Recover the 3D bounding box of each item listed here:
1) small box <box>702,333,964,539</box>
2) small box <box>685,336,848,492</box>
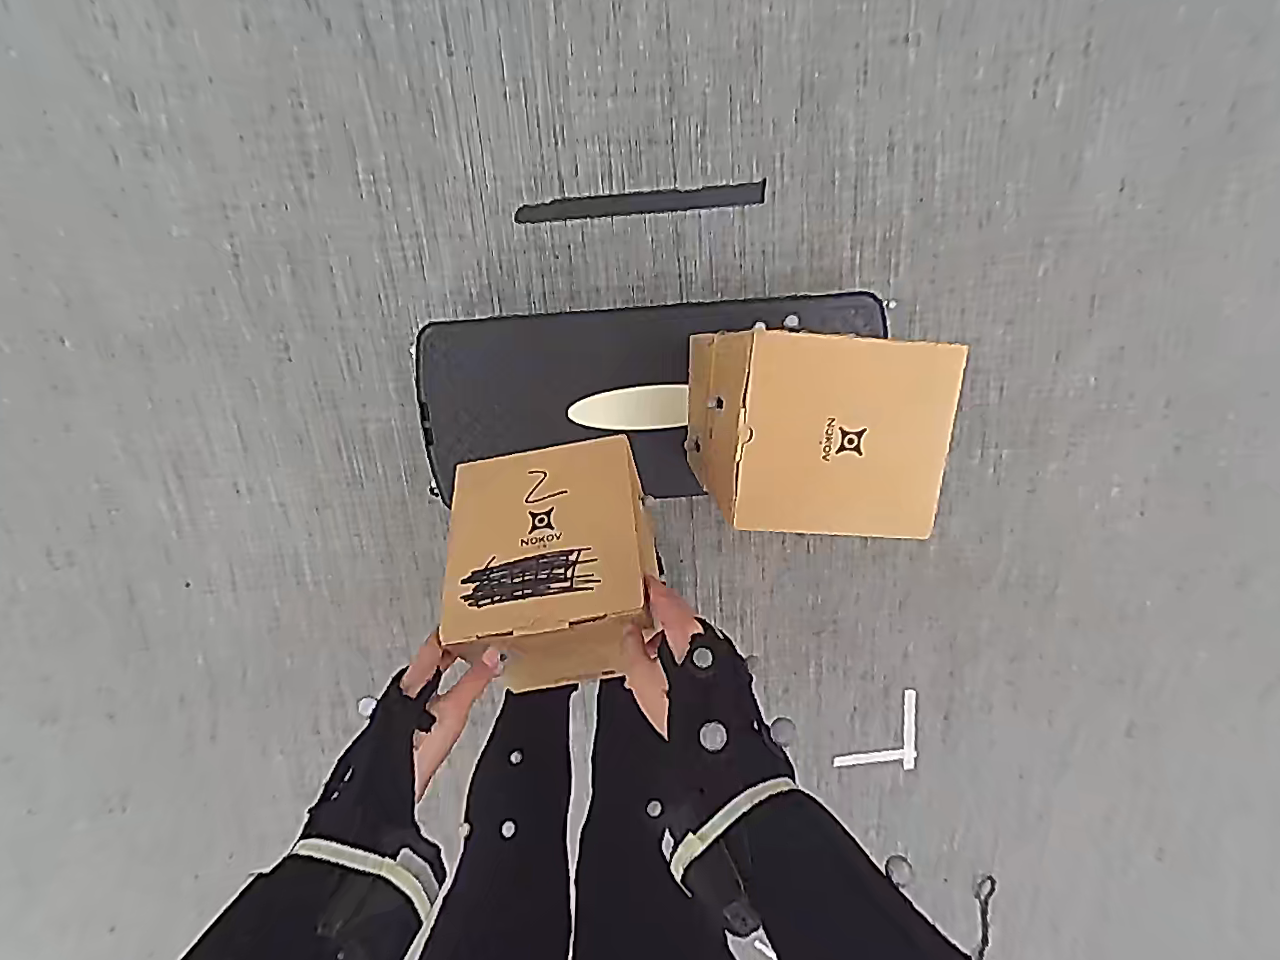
[{"bbox_3d":[0.163,-0.052,0.521,0.179,0.176,0.168,3,104,-2],"label":"small box"},{"bbox_3d":[0.148,-0.089,0.679,0.168,0.176,0.179,0,103,-2],"label":"small box"}]
